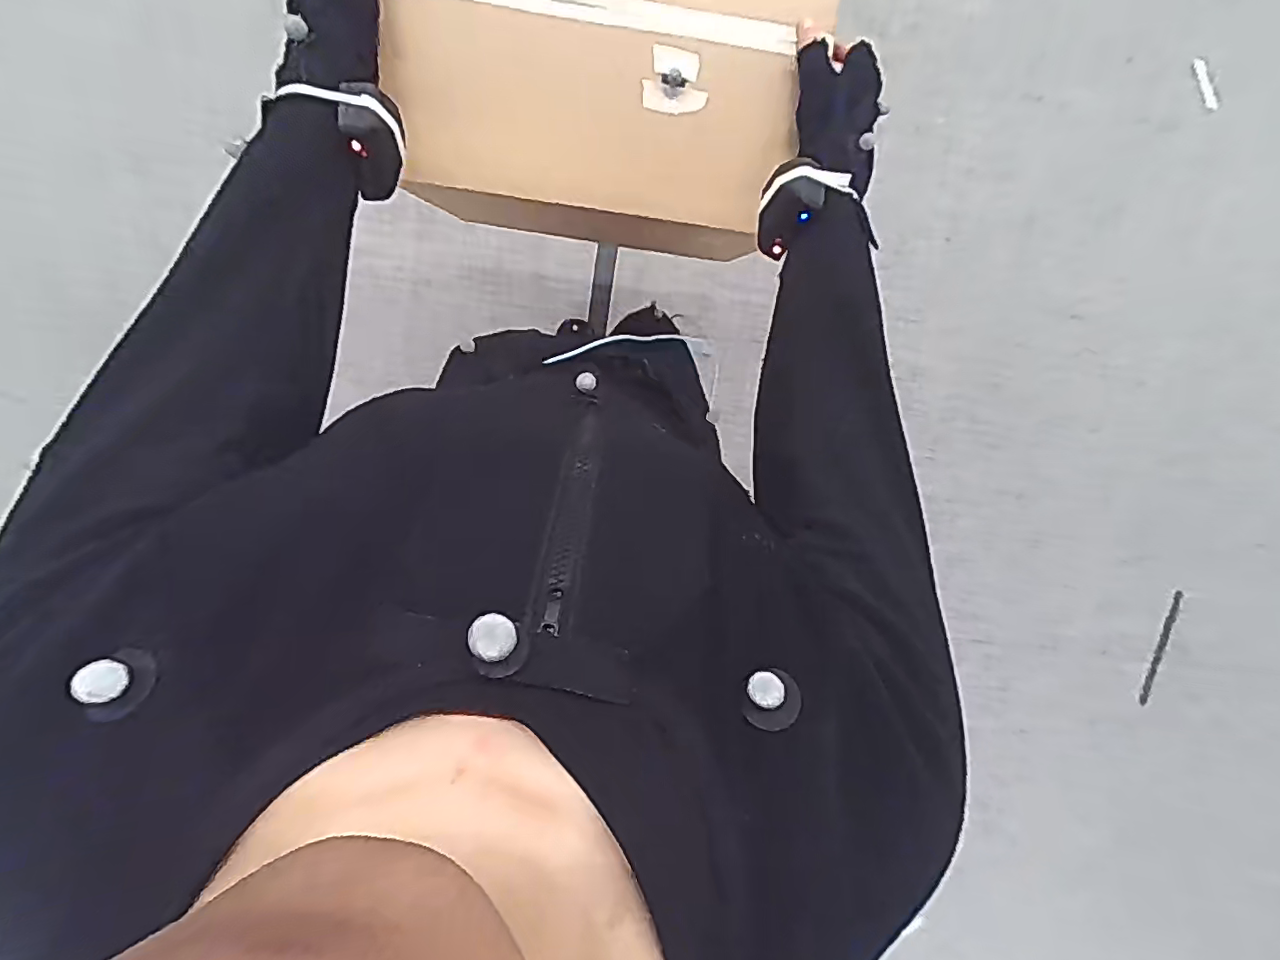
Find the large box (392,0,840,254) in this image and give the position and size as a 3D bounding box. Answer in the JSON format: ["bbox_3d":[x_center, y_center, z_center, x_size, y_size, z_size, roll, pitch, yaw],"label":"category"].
[{"bbox_3d":[-0.030,-0.463,0.629,0.408,0.320,0.320,6,109,-6],"label":"large box"}]
